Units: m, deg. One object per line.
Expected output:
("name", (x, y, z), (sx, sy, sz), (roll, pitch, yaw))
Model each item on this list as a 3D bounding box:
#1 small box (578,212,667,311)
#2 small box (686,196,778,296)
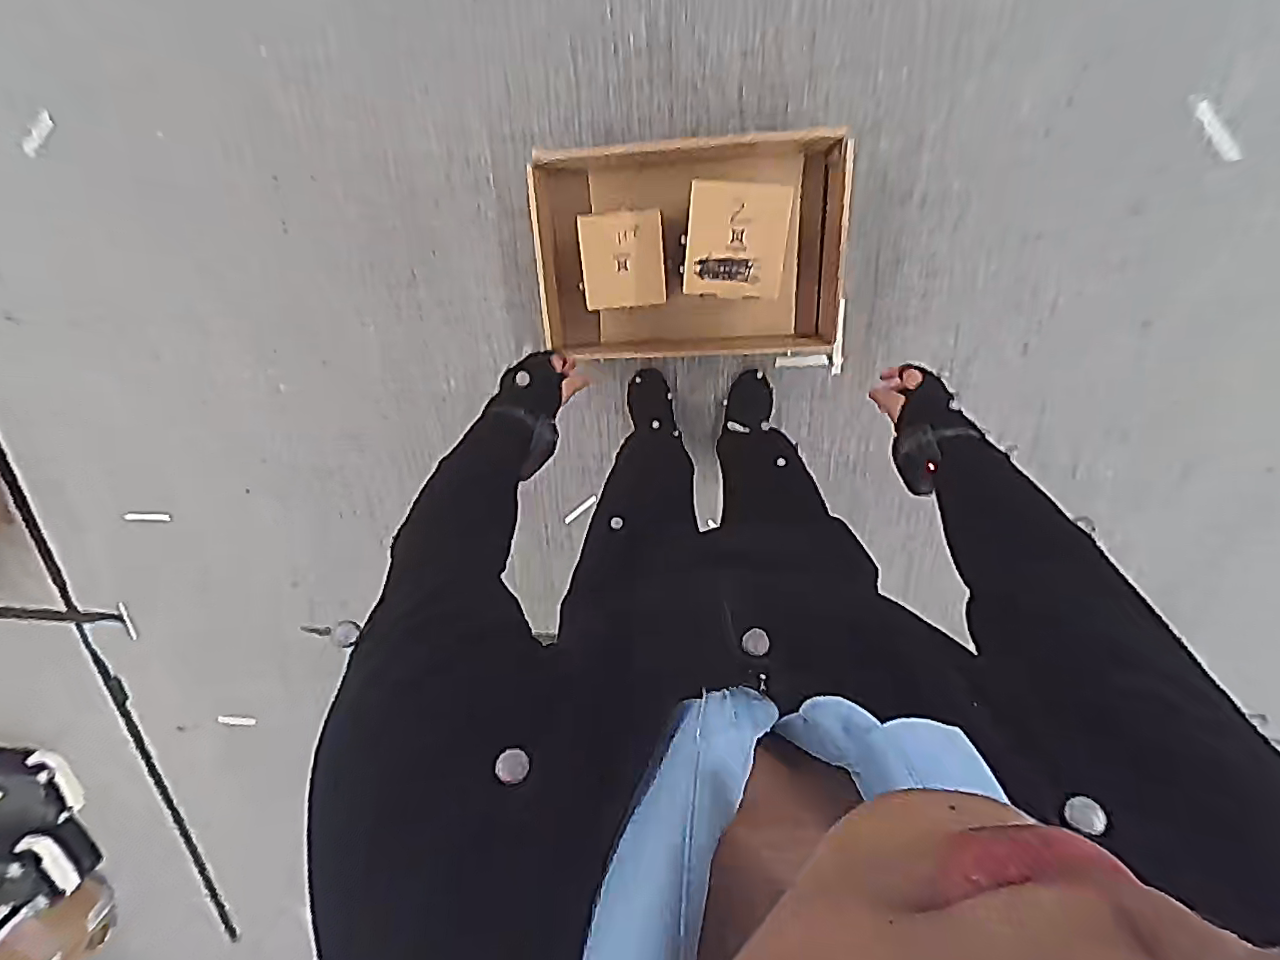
("small box", (-0.030, -0.461, 1.150), (0.168, 0.176, 0.179), (-3, 110, 4))
("small box", (0.185, -0.482, 1.125), (0.168, 0.176, 0.179), (5, 112, 6))
